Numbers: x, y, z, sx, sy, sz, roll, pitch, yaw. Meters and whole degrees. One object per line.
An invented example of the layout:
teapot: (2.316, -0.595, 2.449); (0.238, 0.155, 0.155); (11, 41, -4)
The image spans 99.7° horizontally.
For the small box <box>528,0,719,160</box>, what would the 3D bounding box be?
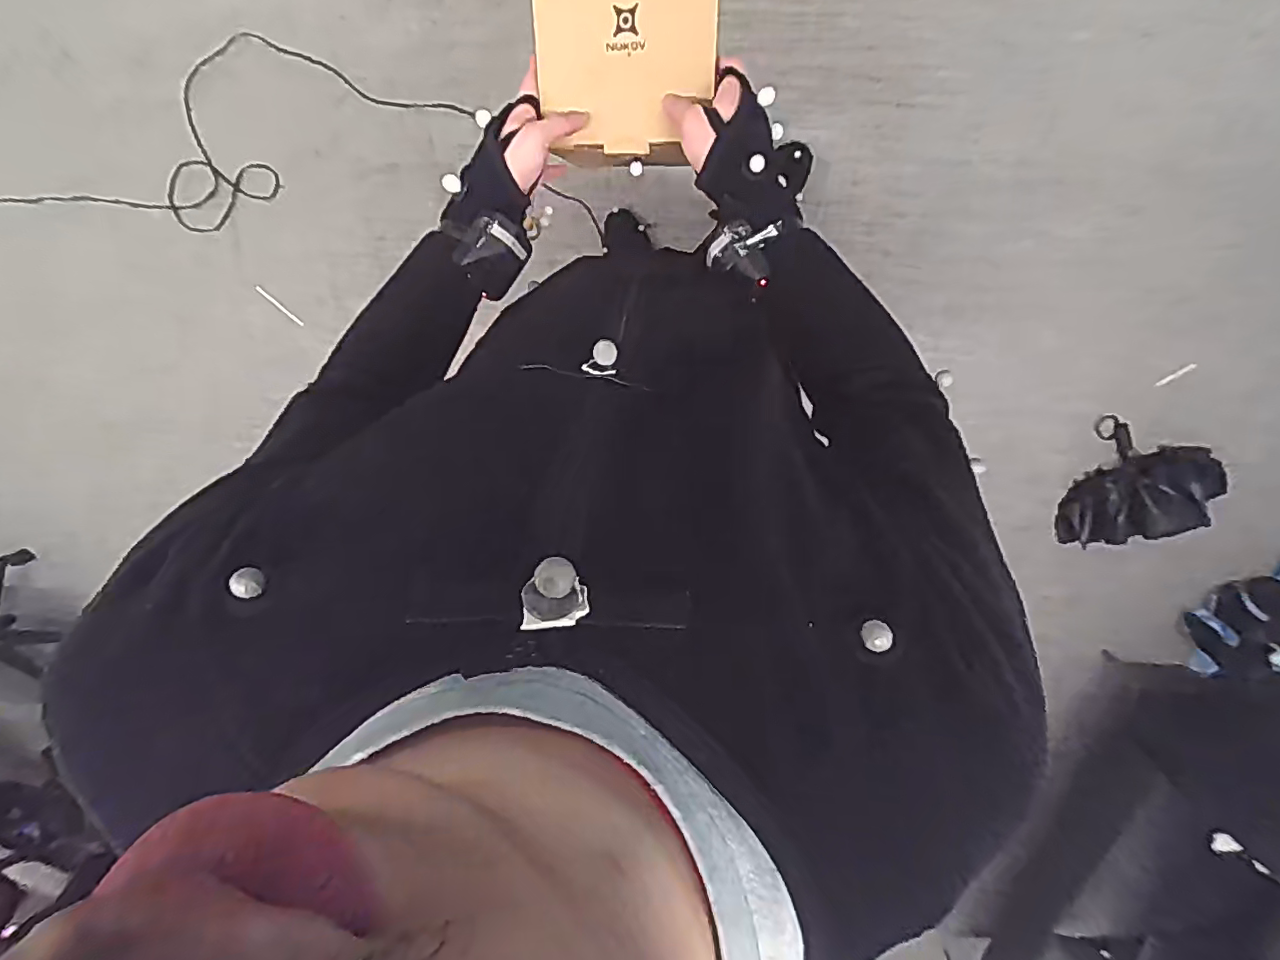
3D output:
small box: (-0.006, -0.426, 0.542); (0.168, 0.176, 0.179); (1, 116, 6)
